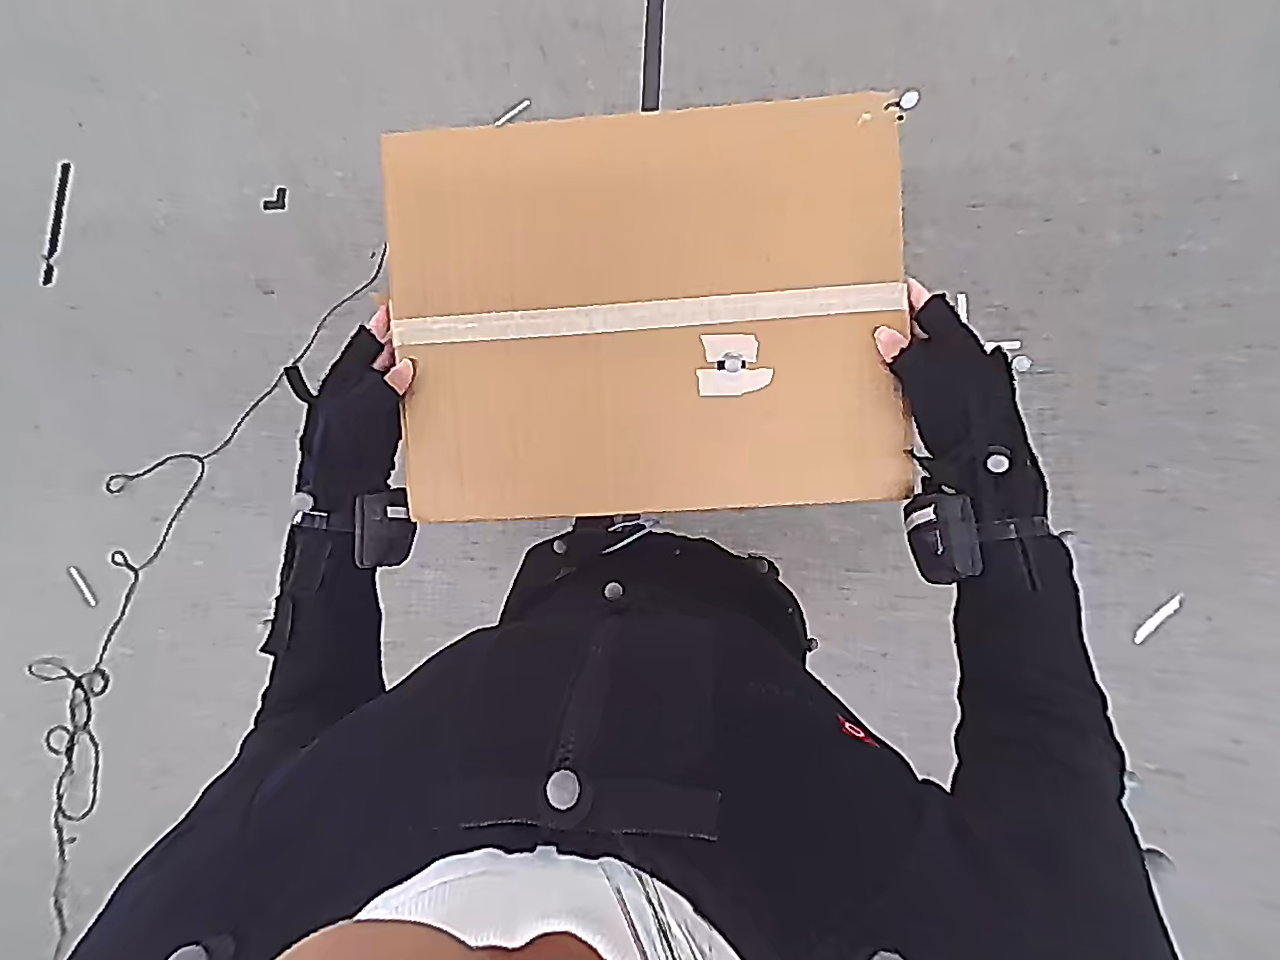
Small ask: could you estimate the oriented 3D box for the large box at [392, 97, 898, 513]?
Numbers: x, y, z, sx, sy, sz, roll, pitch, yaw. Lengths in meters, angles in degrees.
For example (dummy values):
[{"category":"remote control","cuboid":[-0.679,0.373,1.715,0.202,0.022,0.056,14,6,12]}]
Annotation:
[{"category":"large box","cuboid":[0.006,-0.144,0.590,0.408,0.320,0.320,-3,93,2]}]
